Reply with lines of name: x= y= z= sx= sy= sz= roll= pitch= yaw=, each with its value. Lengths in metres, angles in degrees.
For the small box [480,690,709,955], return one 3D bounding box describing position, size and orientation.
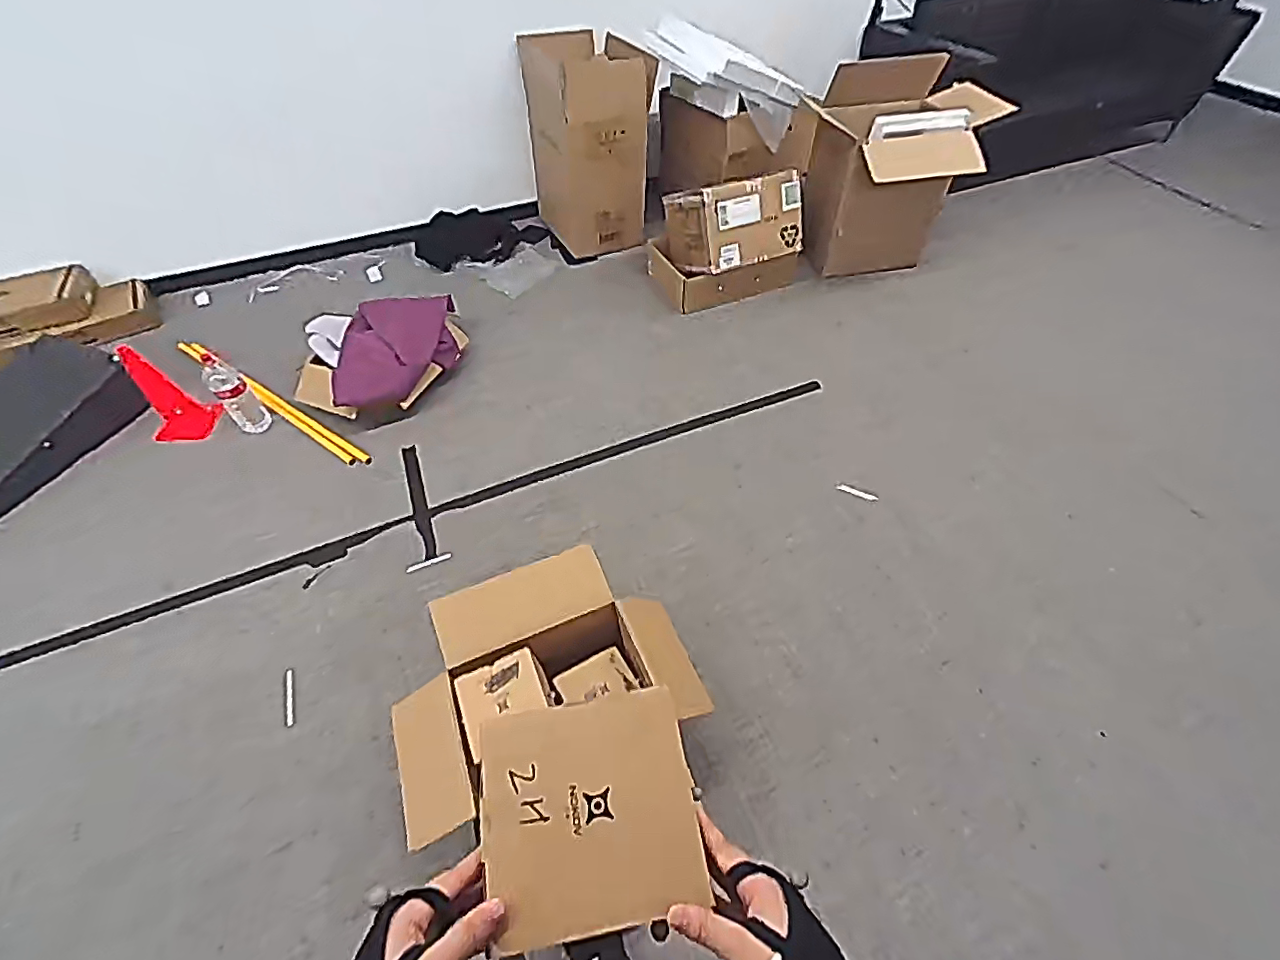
small box: x=-0.044 y=0.316 z=0.519 sx=0.179 sy=0.176 sz=0.168 roll=-10 pitch=58 yaw=-4
